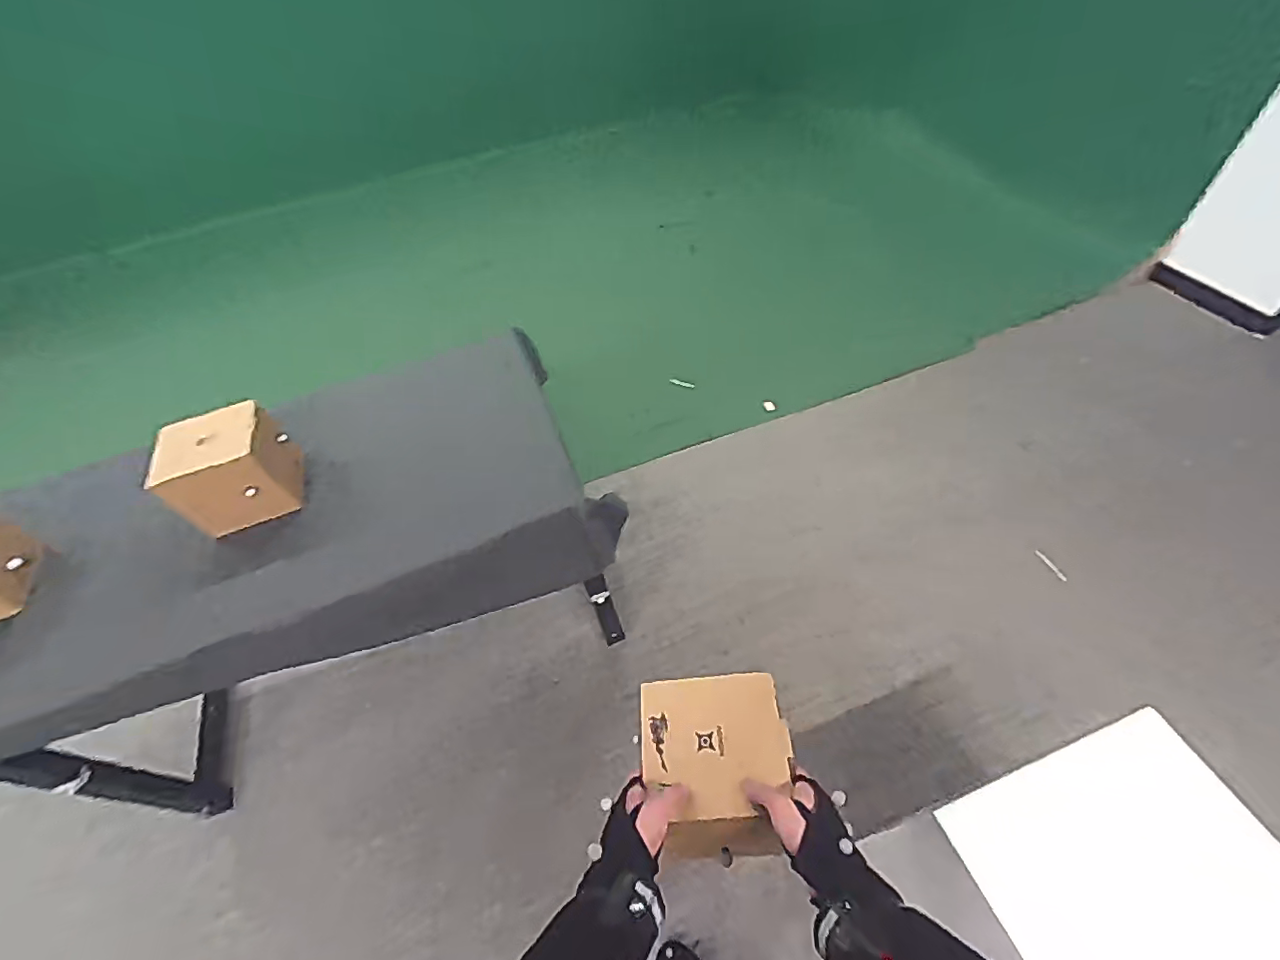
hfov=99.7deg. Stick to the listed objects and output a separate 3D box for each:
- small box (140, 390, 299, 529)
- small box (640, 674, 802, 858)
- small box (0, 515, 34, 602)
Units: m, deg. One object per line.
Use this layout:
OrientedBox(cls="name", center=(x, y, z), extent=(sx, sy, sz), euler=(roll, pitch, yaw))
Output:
OrientedBox(cls="small box", center=(-0.785, -0.036, 1.034), extent=(0.179, 0.176, 0.168), euler=(-21, 52, -9))
OrientedBox(cls="small box", center=(0.095, 0.370, 0.697), extent=(0.179, 0.176, 0.168), euler=(-6, 43, 3))
OrientedBox(cls="small box", center=(-1.248, 0.142, 0.940), extent=(0.179, 0.176, 0.168), euler=(-19, 53, -10))
